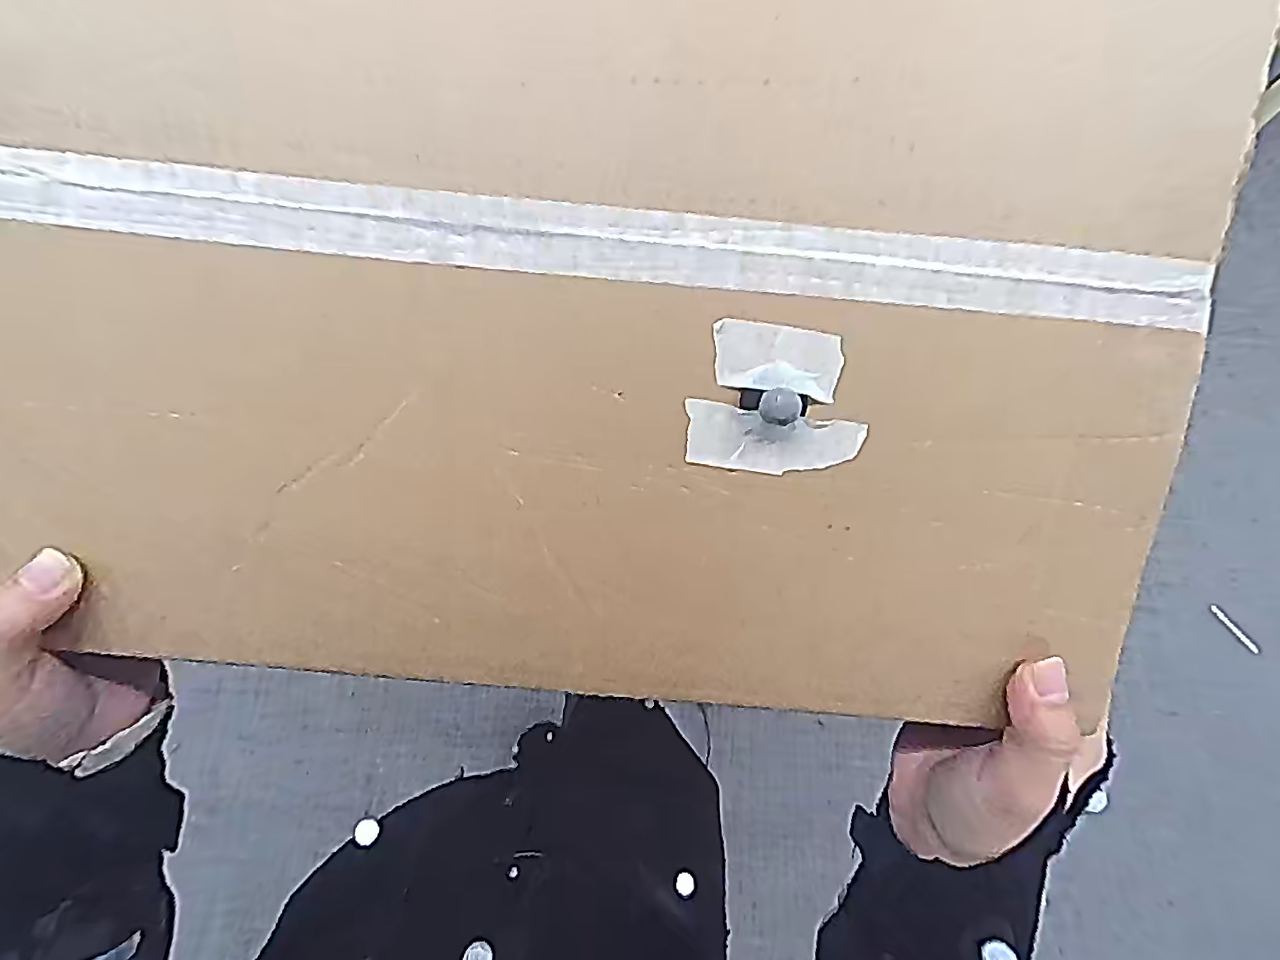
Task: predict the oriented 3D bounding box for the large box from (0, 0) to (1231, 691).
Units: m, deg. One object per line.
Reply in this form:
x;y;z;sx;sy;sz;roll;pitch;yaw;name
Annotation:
-0.017;-0.101;0.334;0.408;0.320;0.320;5;100;-2;large box
